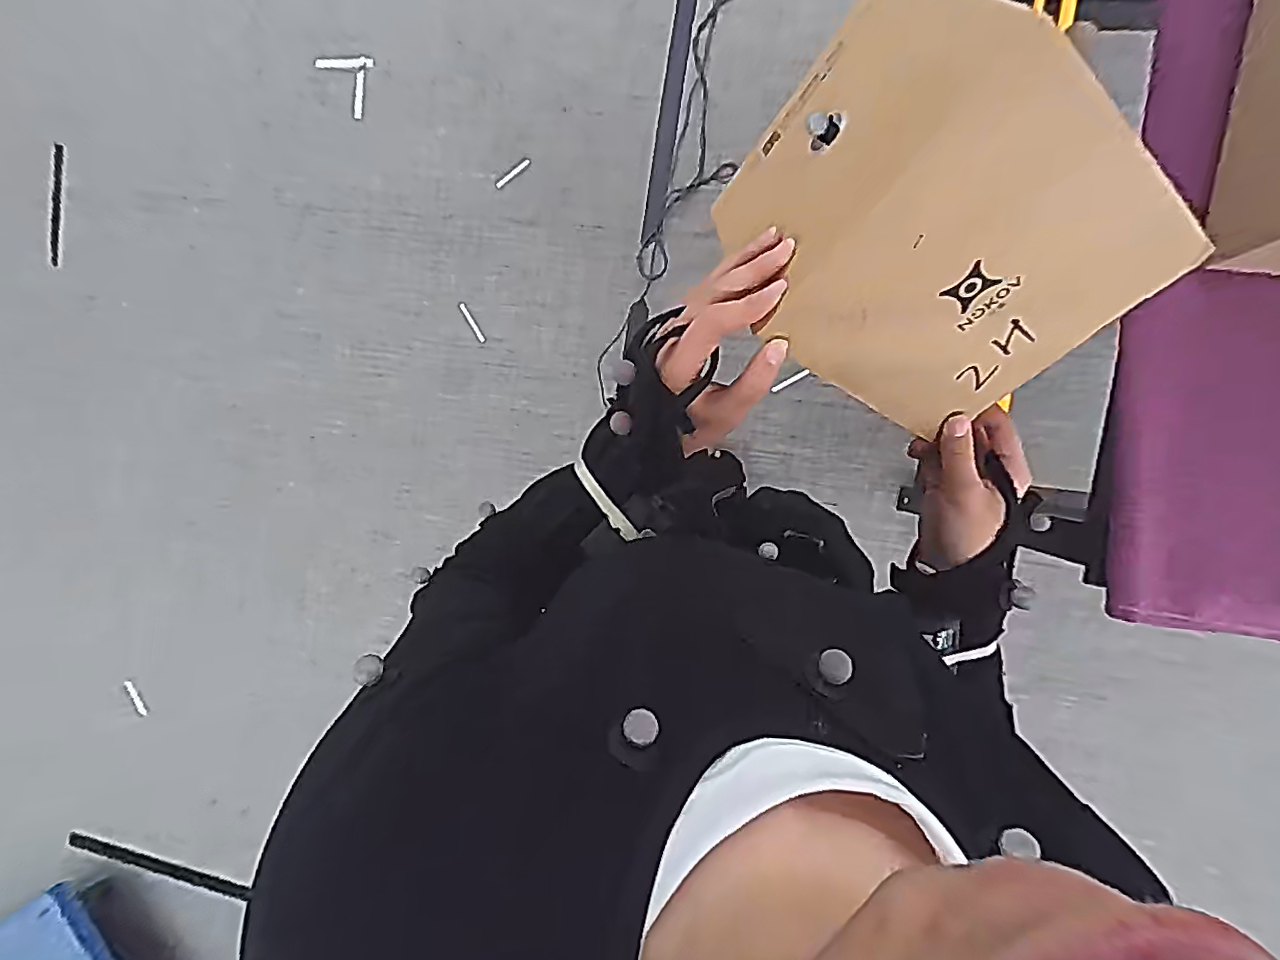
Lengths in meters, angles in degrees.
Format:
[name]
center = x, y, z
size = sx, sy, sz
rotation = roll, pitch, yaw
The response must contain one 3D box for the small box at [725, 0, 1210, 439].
[small box]
center = 0.176, -0.162, 0.342
size = 0.179, 0.176, 0.168
rotation = 21, 134, -27
